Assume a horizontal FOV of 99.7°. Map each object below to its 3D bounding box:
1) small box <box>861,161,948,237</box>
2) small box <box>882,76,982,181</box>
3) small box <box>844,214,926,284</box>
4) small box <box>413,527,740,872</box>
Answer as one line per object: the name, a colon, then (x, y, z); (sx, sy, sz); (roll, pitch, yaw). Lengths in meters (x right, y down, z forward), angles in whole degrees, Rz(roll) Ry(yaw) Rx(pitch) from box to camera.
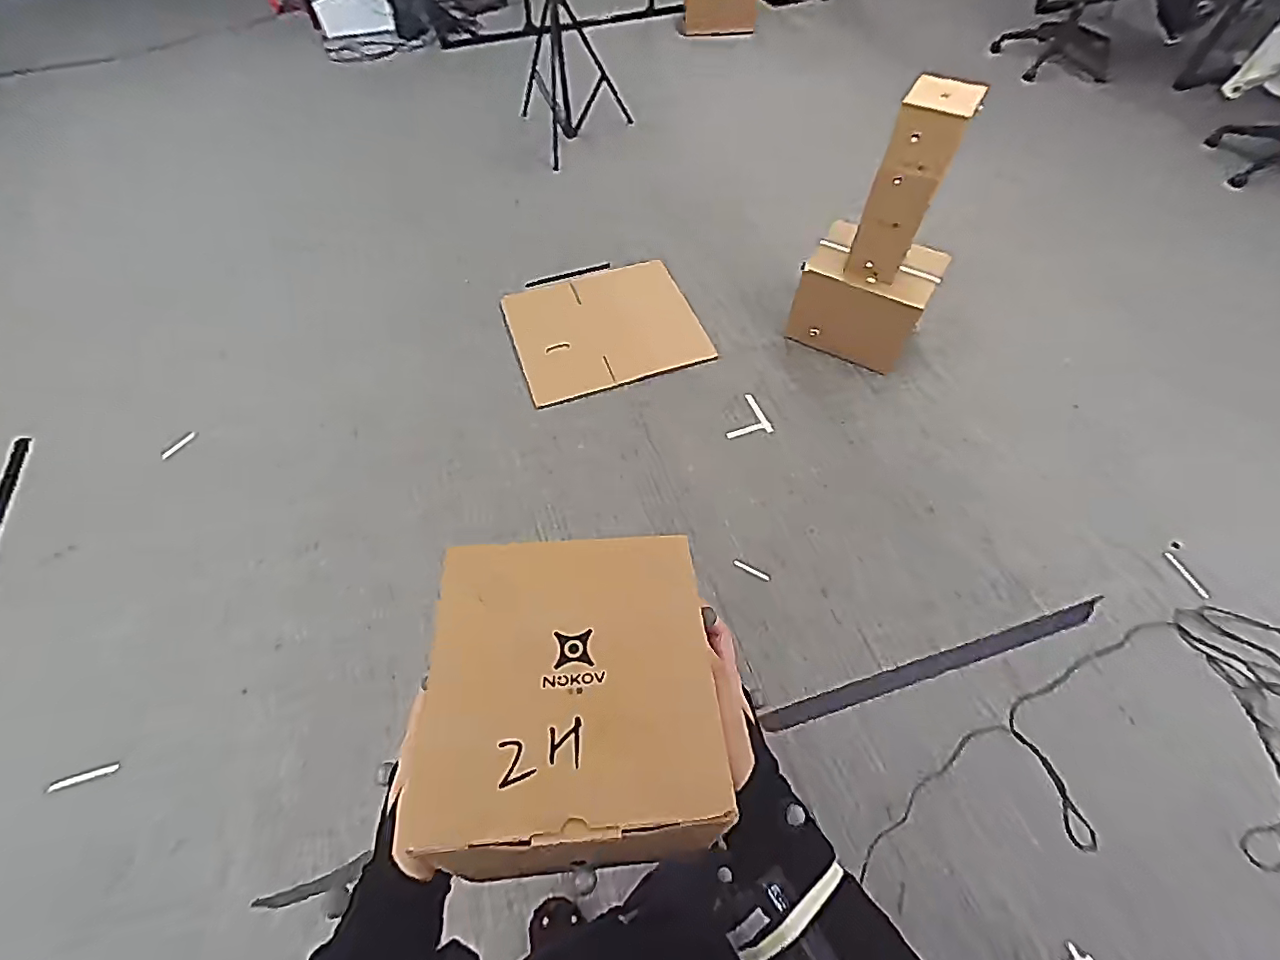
small box: (0.773, -0.852, 1.586); (0.168, 0.176, 0.179); (26, 62, 17)
small box: (0.772, -0.935, 1.445); (0.168, 0.176, 0.179); (26, 62, 17)
small box: (0.775, -0.763, 1.724); (0.168, 0.176, 0.179); (26, 63, 17)
small box: (-0.041, 0.155, 0.382); (0.168, 0.176, 0.179); (-4, 50, -6)
